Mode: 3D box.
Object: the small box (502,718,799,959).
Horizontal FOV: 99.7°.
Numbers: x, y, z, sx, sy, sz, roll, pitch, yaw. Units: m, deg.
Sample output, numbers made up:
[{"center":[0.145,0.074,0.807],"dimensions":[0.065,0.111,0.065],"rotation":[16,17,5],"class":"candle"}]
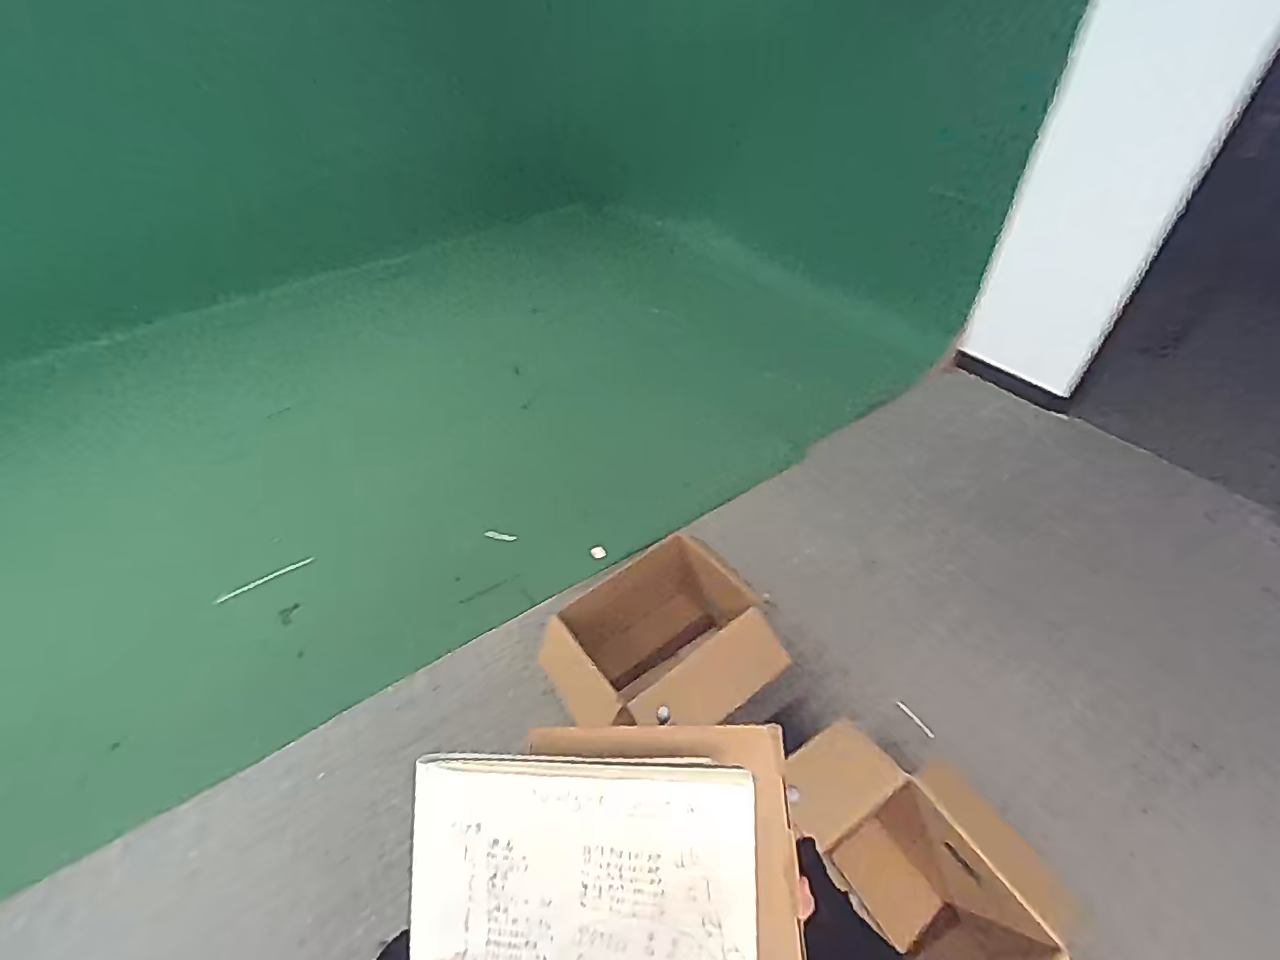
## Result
[{"center":[0.013,0.273,0.405],"dimensions":[0.179,0.176,0.168],"rotation":[-3,62,6],"class":"small box"}]
